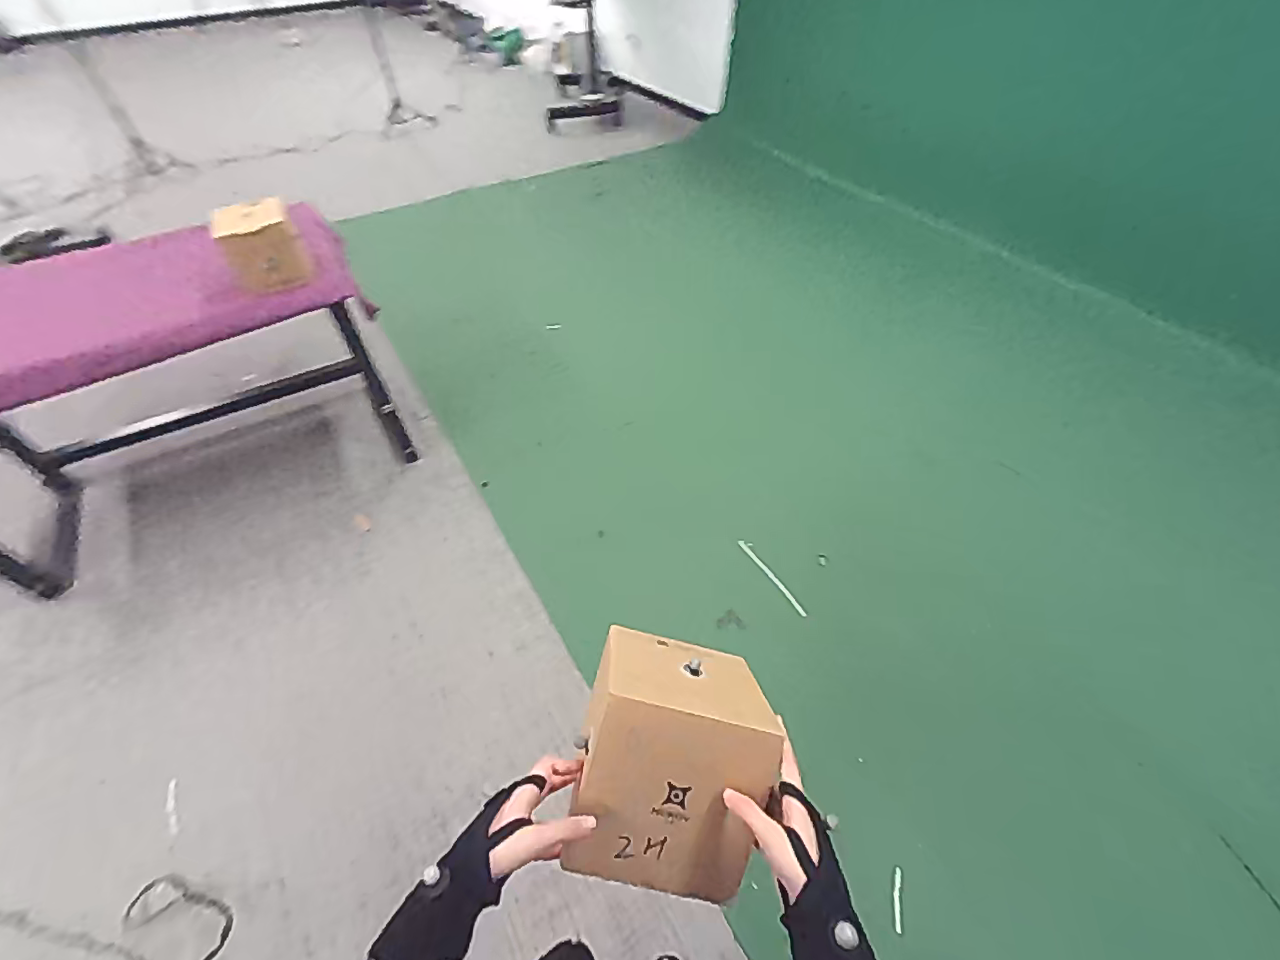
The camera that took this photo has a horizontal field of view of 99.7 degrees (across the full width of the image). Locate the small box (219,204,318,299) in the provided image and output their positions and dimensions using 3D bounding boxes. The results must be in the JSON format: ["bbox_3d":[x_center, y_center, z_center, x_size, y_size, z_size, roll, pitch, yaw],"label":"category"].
[{"bbox_3d":[-0.998,-0.610,1.462,0.168,0.176,0.179,-22,54,-16],"label":"small box"}]

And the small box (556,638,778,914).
[{"bbox_3d":[0.019,0.286,0.560,0.168,0.176,0.179,15,94,-4],"label":"small box"}]
